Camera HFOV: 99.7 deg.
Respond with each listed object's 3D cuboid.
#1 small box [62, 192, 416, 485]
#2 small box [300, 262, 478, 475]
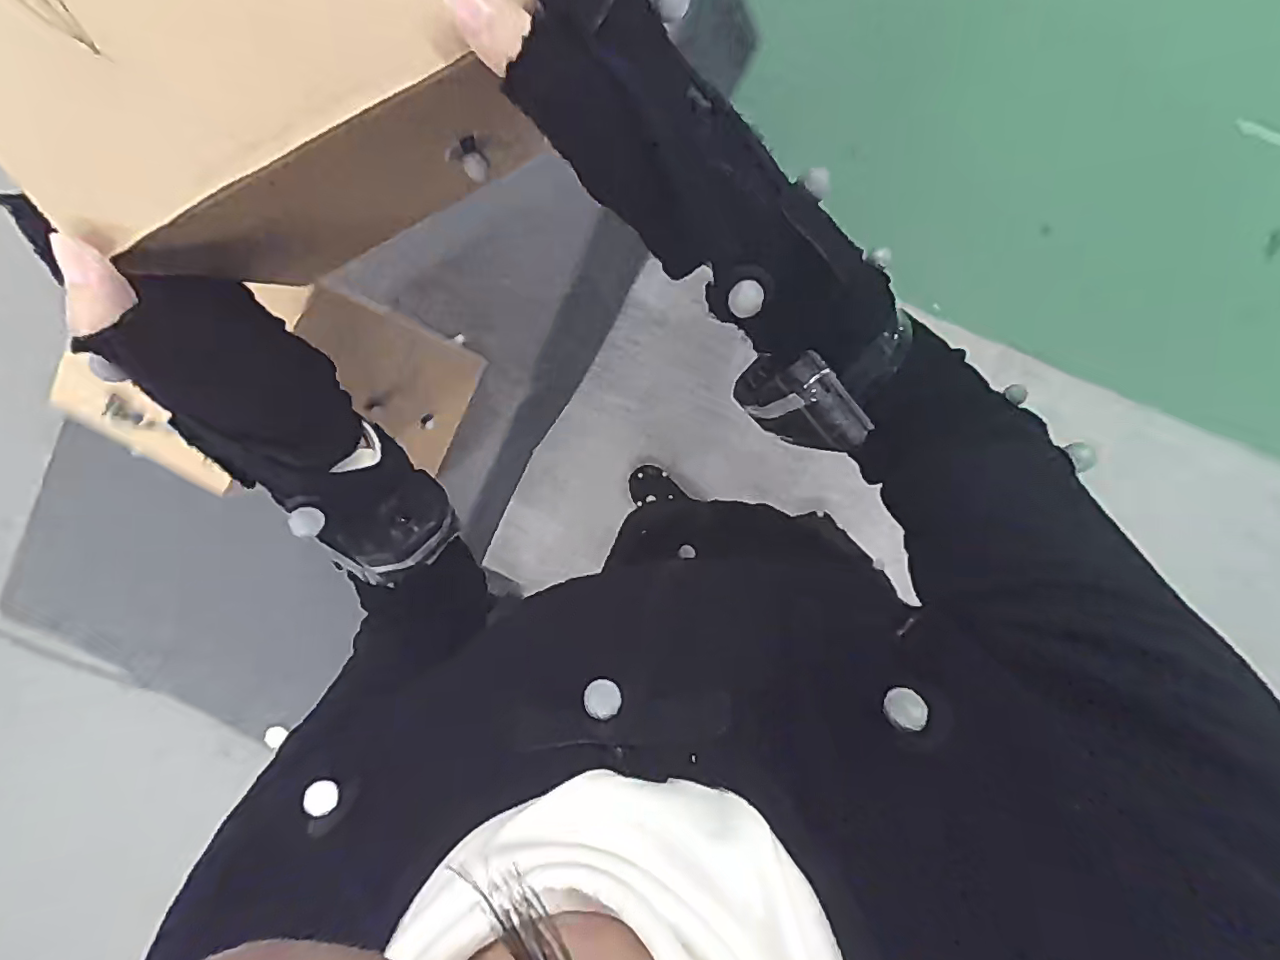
[{"bbox_3d":[-0.336,-0.111,0.491,0.168,0.176,0.179,27,95,5],"label":"small box"},{"bbox_3d":[-0.322,-0.121,0.651,0.168,0.176,0.179,29,95,6],"label":"small box"}]
